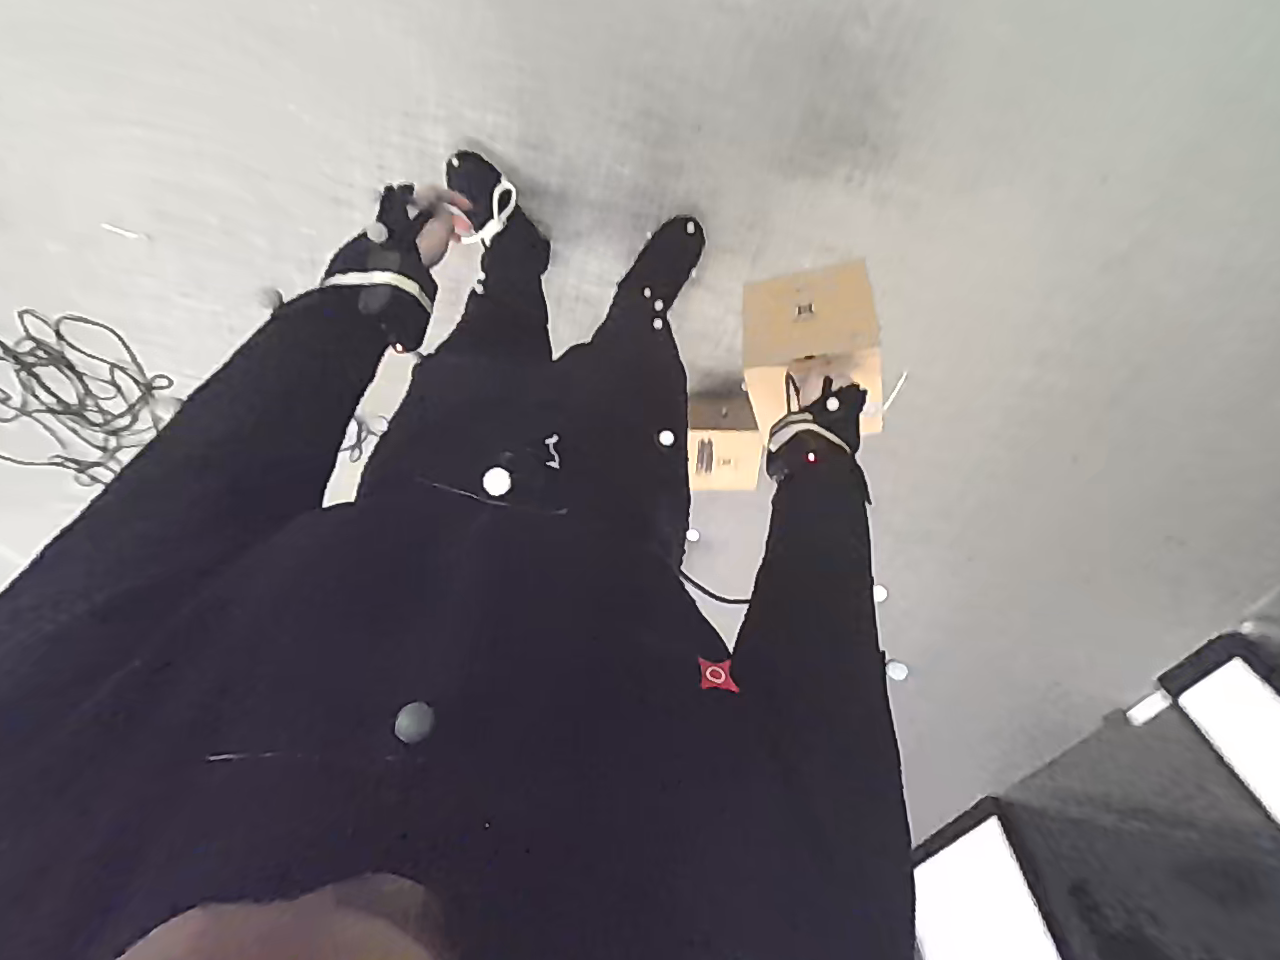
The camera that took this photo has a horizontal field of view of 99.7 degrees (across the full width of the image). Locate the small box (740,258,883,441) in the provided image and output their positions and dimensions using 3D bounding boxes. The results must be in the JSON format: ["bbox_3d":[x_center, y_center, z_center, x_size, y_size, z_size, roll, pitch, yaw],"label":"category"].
[{"bbox_3d":[0.240,-0.168,0.751,0.168,0.179,0.176,-6,145,21],"label":"small box"}]
